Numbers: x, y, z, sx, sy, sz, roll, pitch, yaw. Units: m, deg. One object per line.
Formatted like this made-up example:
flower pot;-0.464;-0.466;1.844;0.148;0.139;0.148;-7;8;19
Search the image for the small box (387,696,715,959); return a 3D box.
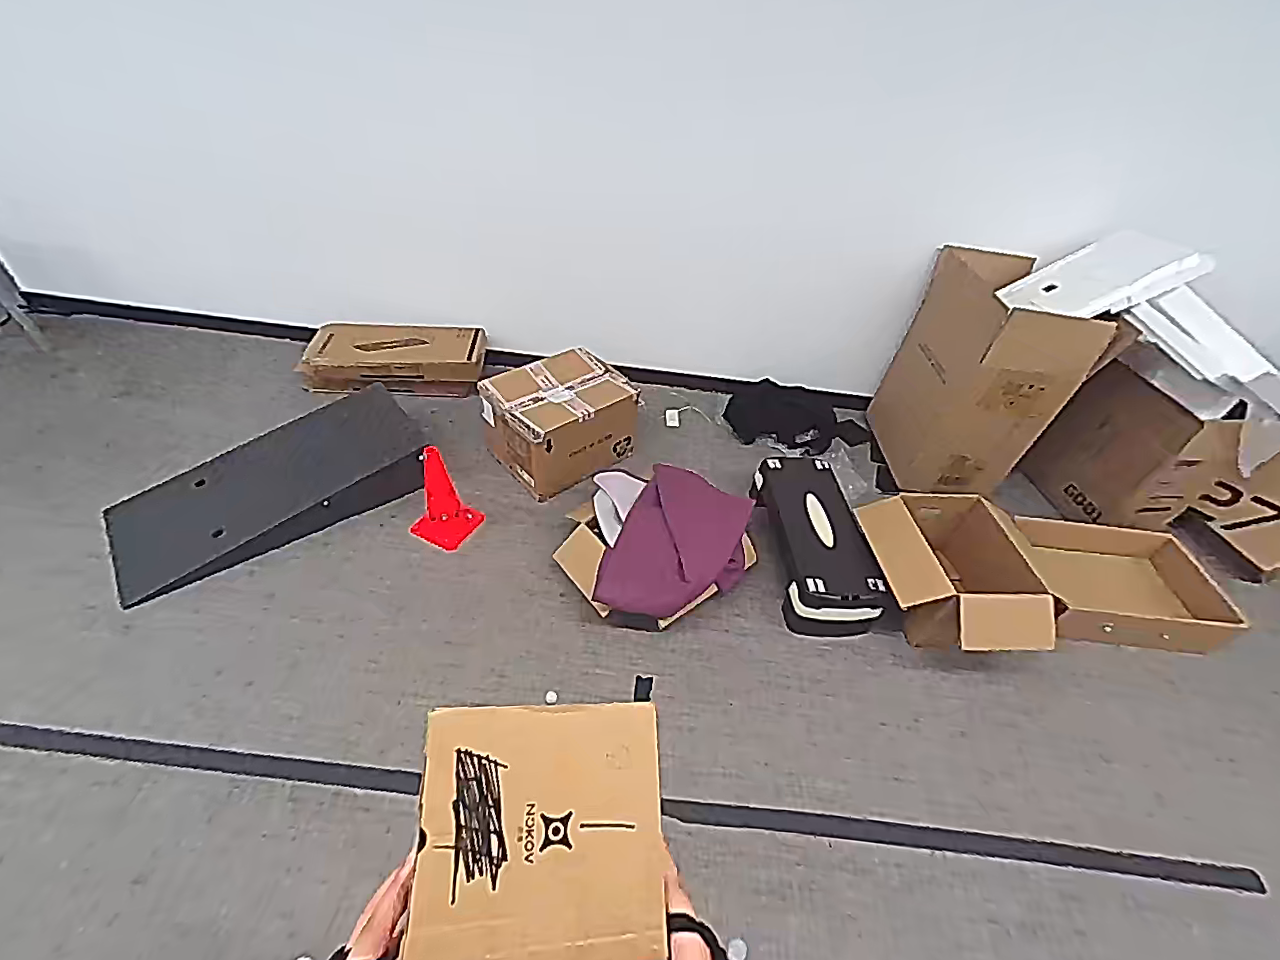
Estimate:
small box;-0.062;0.246;0.378;0.179;0.176;0.168;4;64;-13
